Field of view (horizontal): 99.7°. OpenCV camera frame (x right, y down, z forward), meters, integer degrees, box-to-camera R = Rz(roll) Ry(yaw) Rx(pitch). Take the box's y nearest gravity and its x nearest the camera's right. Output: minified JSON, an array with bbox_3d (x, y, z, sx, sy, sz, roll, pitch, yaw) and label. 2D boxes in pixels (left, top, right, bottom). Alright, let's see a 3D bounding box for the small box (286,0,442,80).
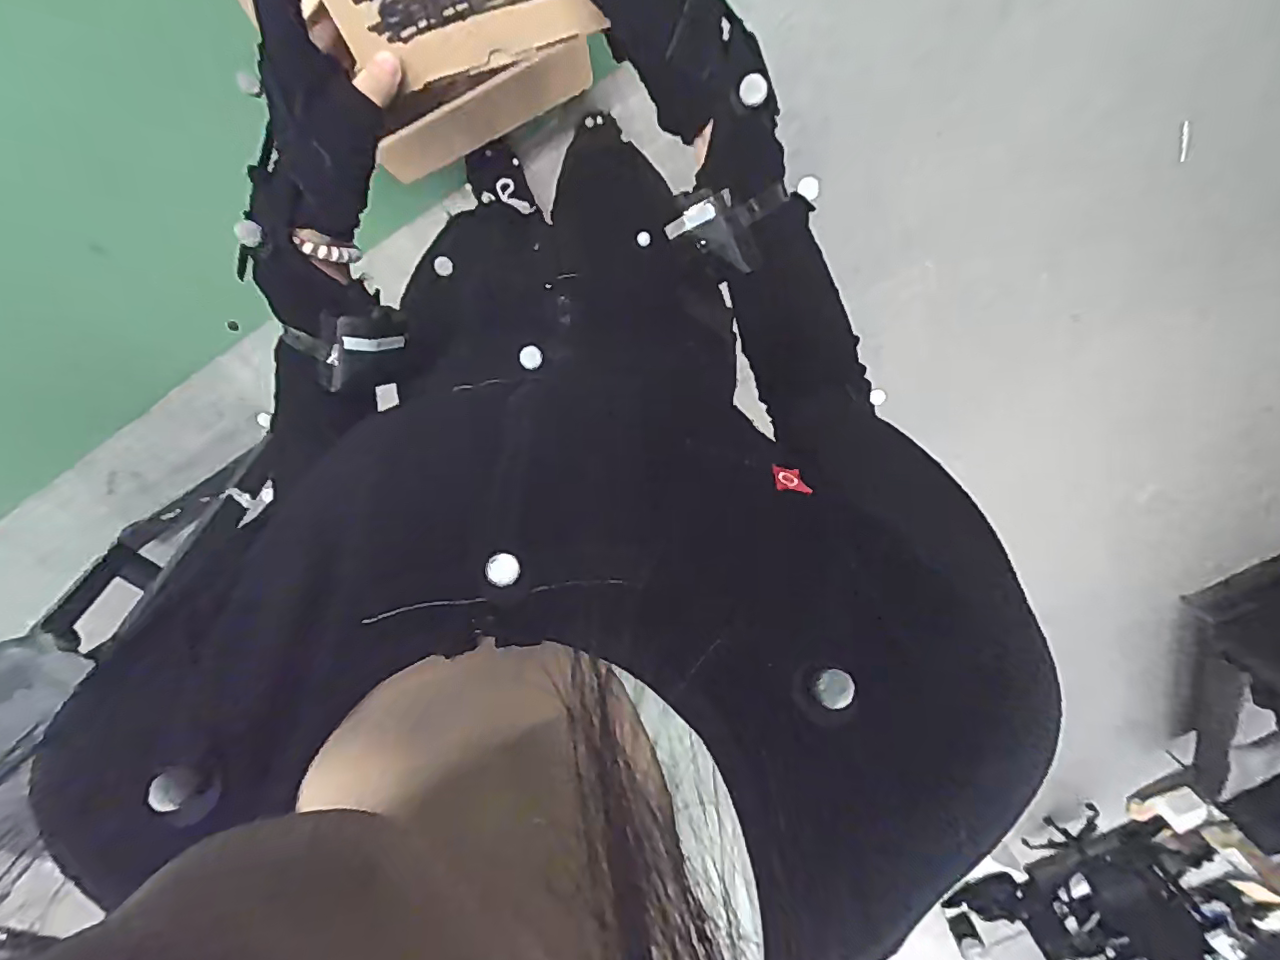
[{"bbox_3d":[-0.415,-0.718,0.791,0.168,0.176,0.179,-22,126,4],"label":"small box"}]
